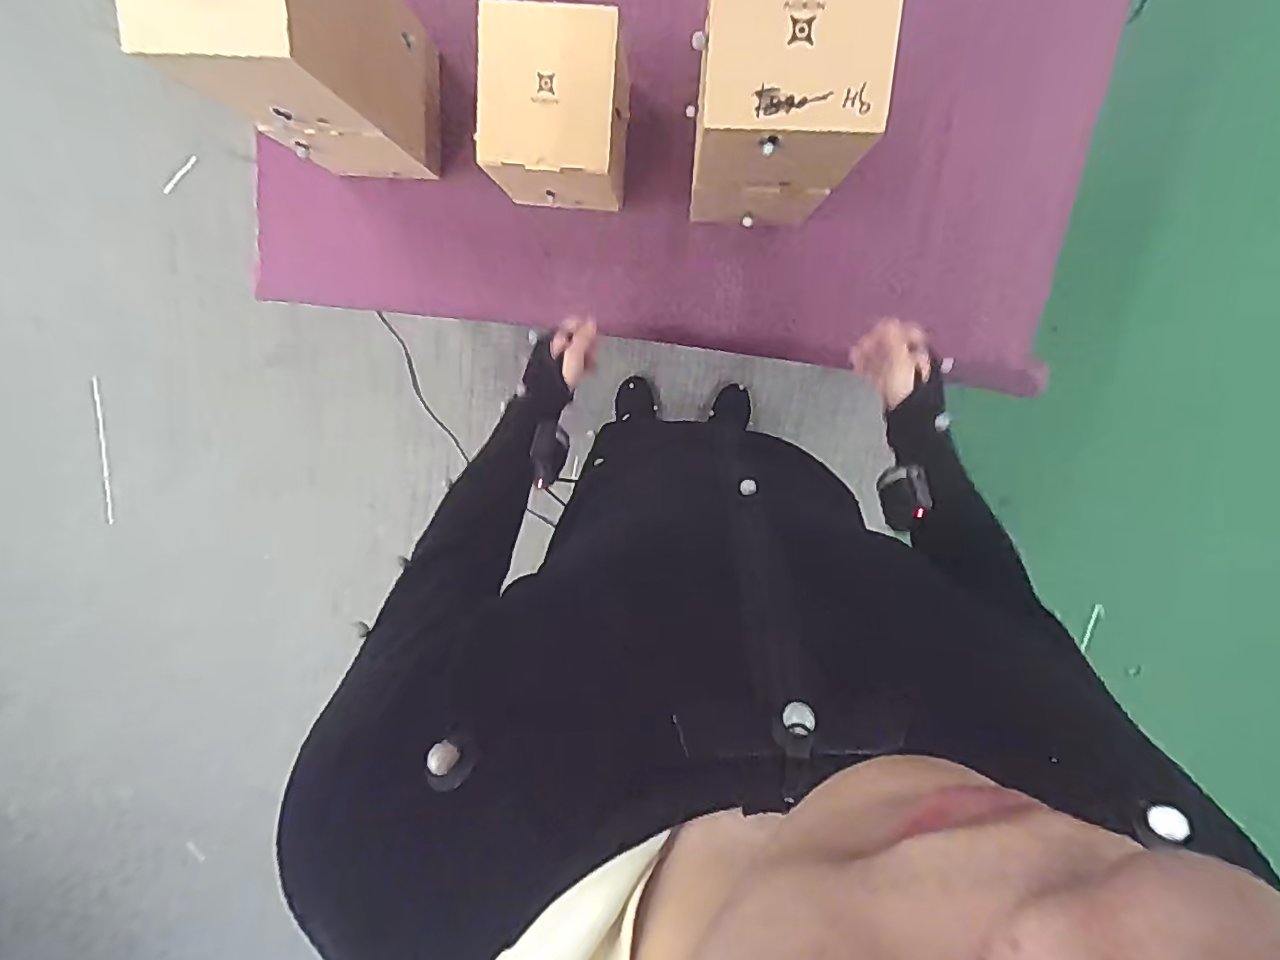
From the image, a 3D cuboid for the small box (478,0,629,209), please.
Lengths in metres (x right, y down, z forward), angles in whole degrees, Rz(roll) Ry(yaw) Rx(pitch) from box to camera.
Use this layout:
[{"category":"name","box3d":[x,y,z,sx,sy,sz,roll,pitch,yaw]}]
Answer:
[{"category":"small box","box3d":[-0.106,-0.484,0.719,0.168,0.176,0.179,6,103,2]}]

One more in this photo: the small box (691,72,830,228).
[{"category":"small box","box3d":[0.157,-0.451,0.711,0.168,0.176,0.179,5,103,3]}]

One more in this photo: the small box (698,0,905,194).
[{"category":"small box","box3d":[0.149,-0.416,0.550,0.168,0.176,0.179,4,102,3]}]

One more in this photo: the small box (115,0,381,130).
[{"category":"small box","box3d":[-0.389,-0.499,0.560,0.168,0.176,0.179,5,102,2]}]
